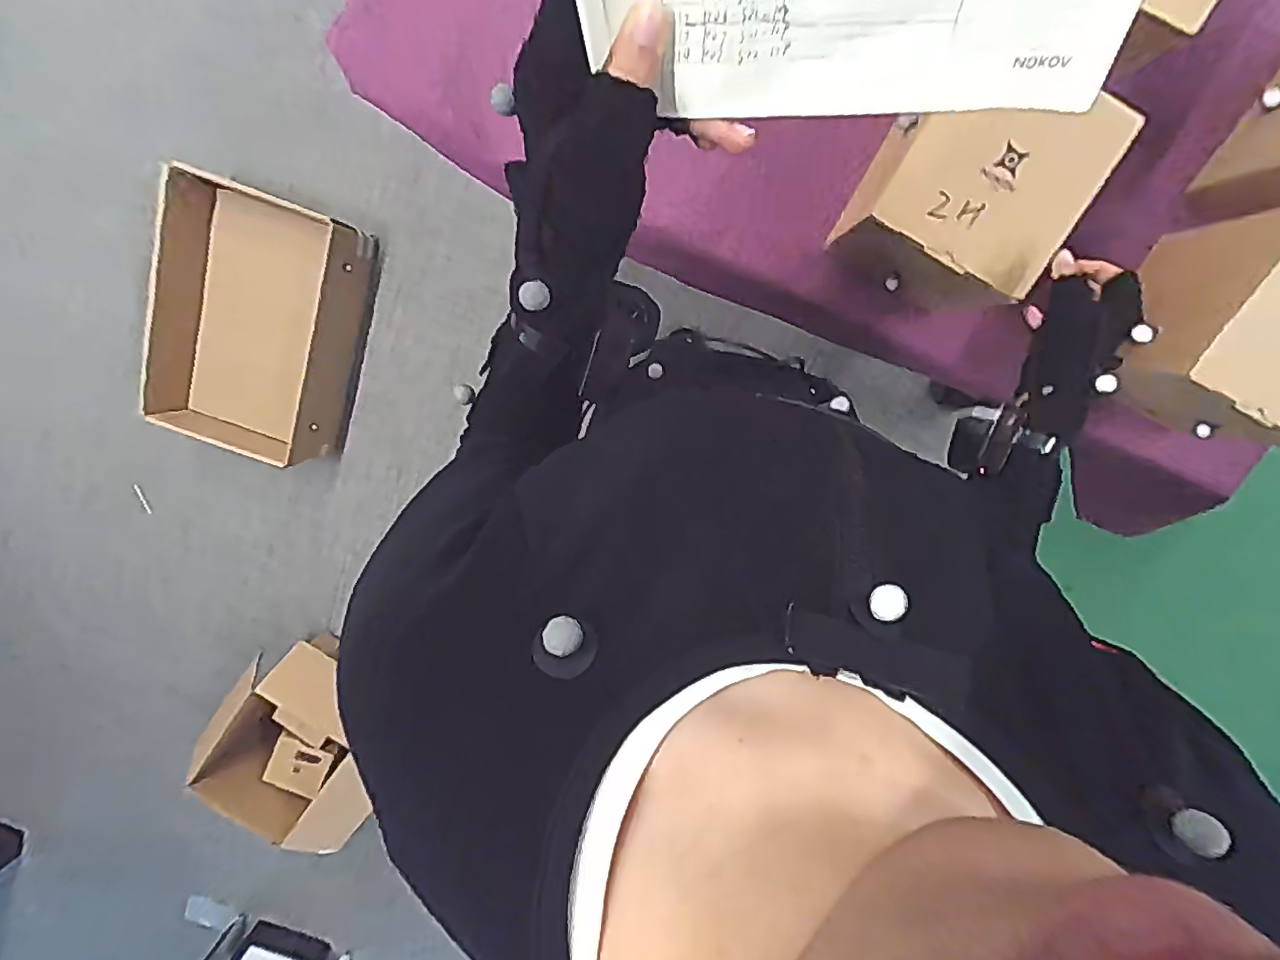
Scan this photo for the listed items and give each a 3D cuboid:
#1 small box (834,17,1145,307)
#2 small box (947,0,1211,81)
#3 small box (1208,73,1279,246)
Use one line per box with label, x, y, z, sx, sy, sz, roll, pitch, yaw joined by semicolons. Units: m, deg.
small box;0.328;-0.298;0.555;0.168;0.176;0.179;29;104;-3
small box;0.424;-0.499;0.501;0.168;0.176;0.179;23;104;-2
small box;0.724;-0.340;0.517;0.168;0.176;0.179;30;105;-4
